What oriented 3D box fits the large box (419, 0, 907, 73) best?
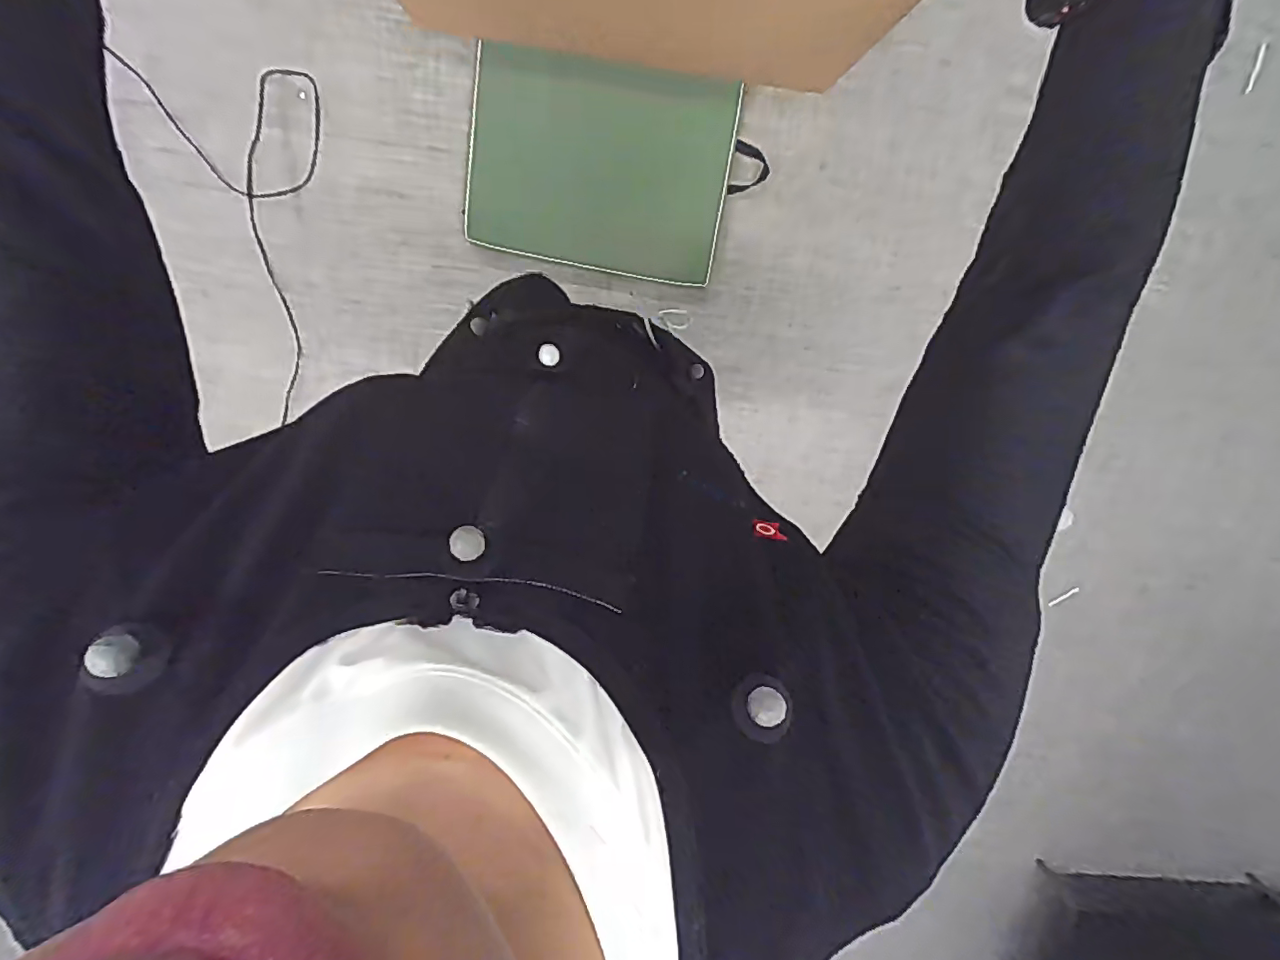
[{"bbox_3d":[0.017,-0.508,0.337,0.408,0.320,0.320,5,111,-4],"label":"large box"}]
